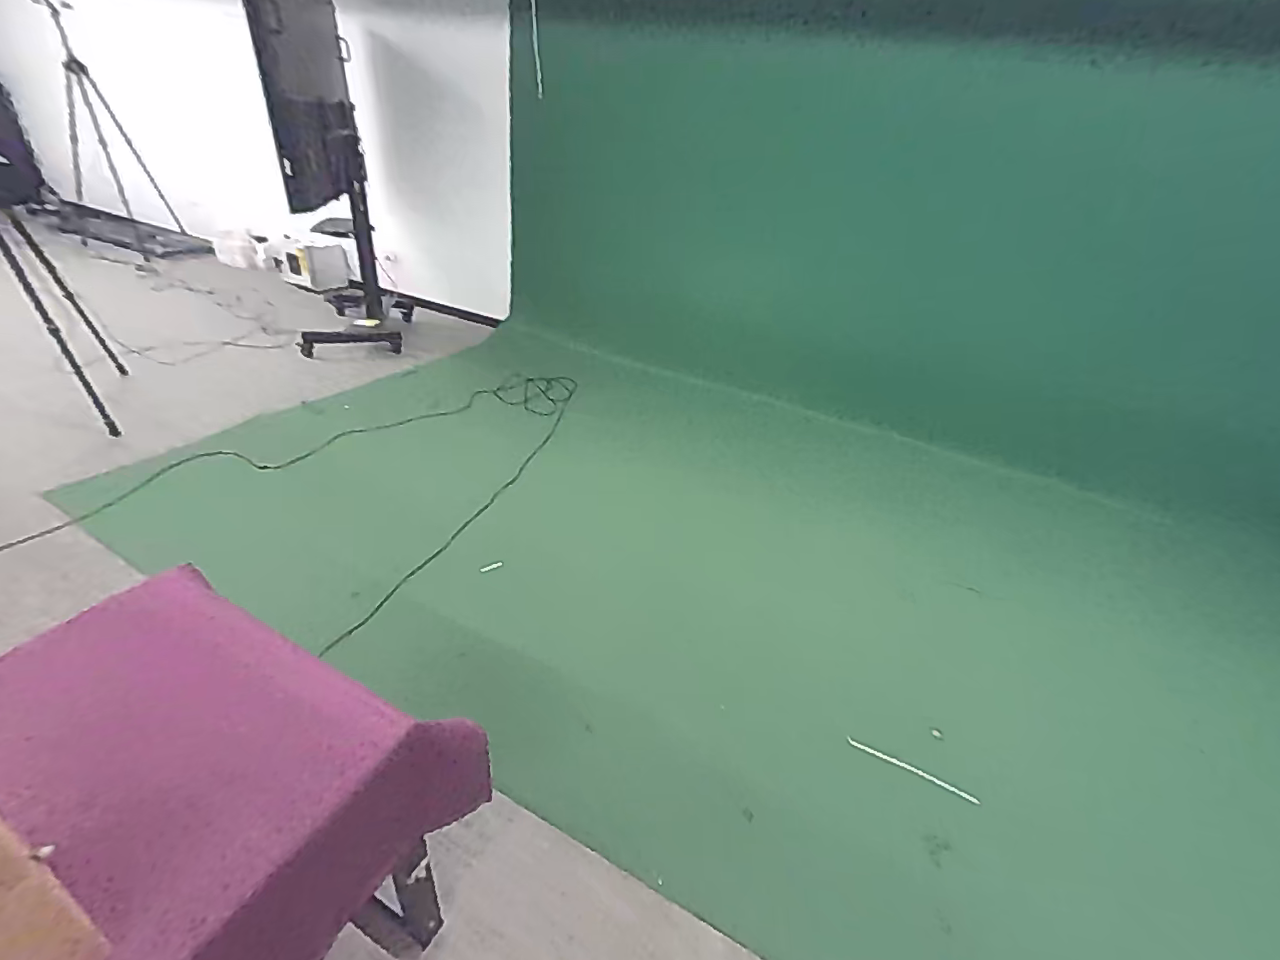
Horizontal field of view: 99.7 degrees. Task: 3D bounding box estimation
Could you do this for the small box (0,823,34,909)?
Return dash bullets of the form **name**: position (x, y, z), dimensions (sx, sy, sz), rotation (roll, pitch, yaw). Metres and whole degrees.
- **small box**: position (-0.625, 0.291, 0.398), dimensions (0.179, 0.176, 0.168), rotation (20, 34, 19)
